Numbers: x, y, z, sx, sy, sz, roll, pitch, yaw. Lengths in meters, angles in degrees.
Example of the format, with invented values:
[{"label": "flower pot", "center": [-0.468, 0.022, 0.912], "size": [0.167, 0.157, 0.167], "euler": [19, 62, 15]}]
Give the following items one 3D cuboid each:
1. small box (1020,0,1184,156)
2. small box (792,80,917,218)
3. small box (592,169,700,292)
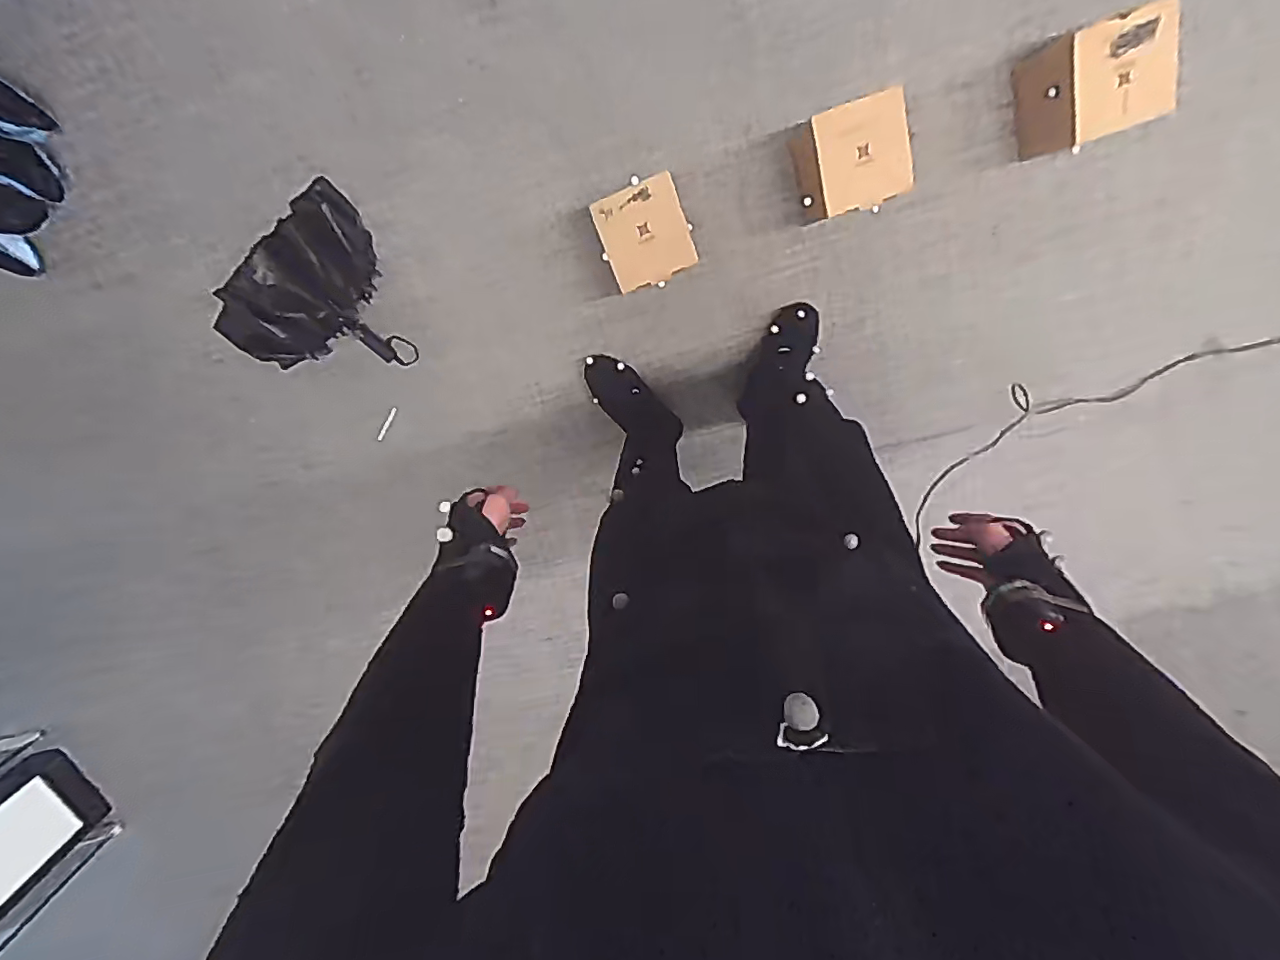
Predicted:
[{"label": "small box", "center": [0.834, -0.730, 0.991], "size": [0.168, 0.176, 0.179], "euler": [-17, 110, 9]}, {"label": "small box", "center": [0.410, -0.624, 1.050], "size": [0.168, 0.176, 0.179], "euler": [-17, 109, 7]}, {"label": "small box", "center": [0.015, -0.503, 1.105], "size": [0.168, 0.176, 0.179], "euler": [-20, 110, 8]}]
